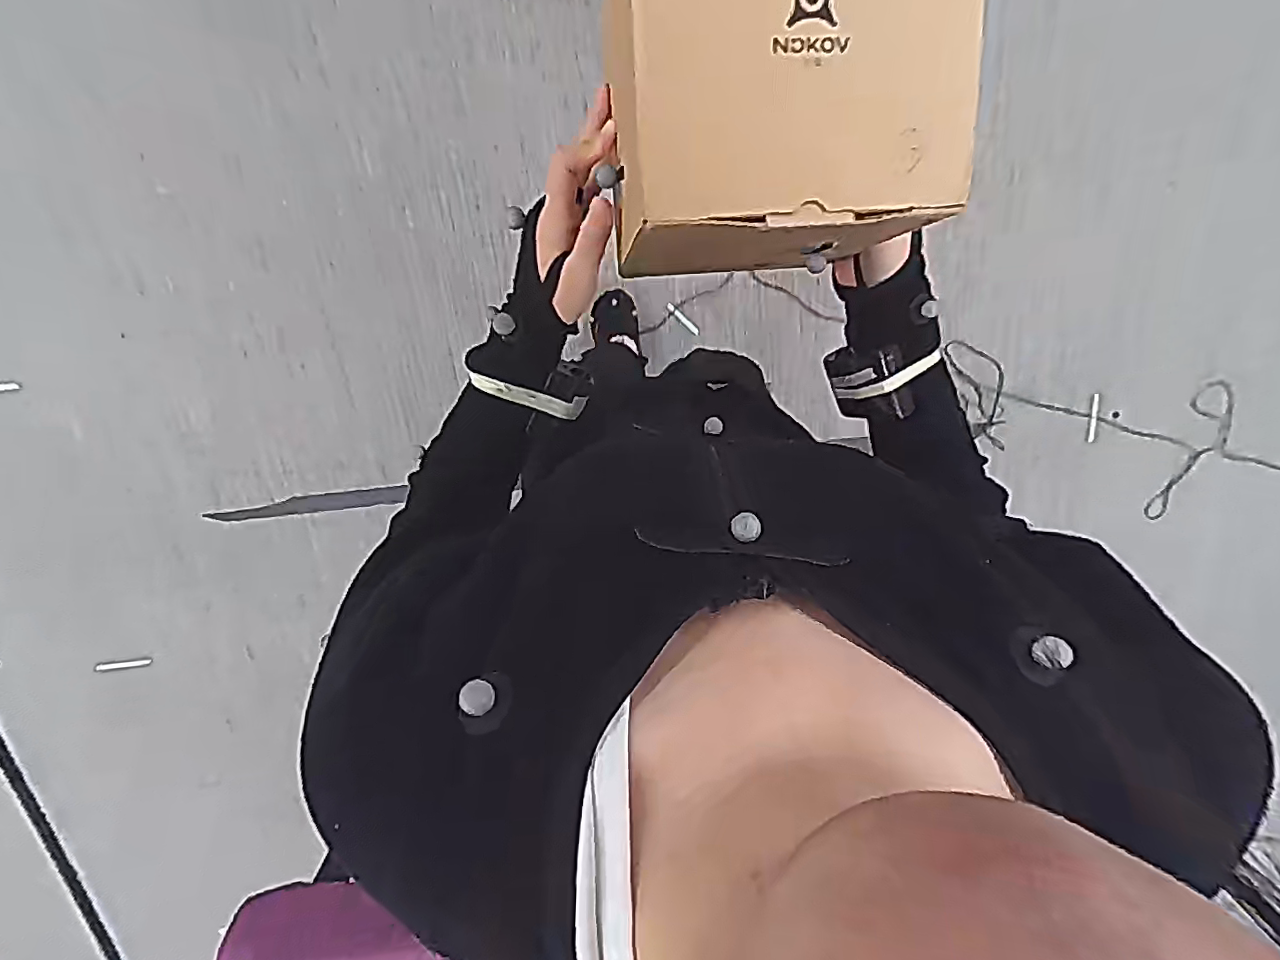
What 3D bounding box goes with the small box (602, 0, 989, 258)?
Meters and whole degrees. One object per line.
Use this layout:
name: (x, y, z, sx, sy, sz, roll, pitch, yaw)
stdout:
small box: (0.068, -0.235, 0.315, 0.168, 0.176, 0.179, -6, 102, -5)
